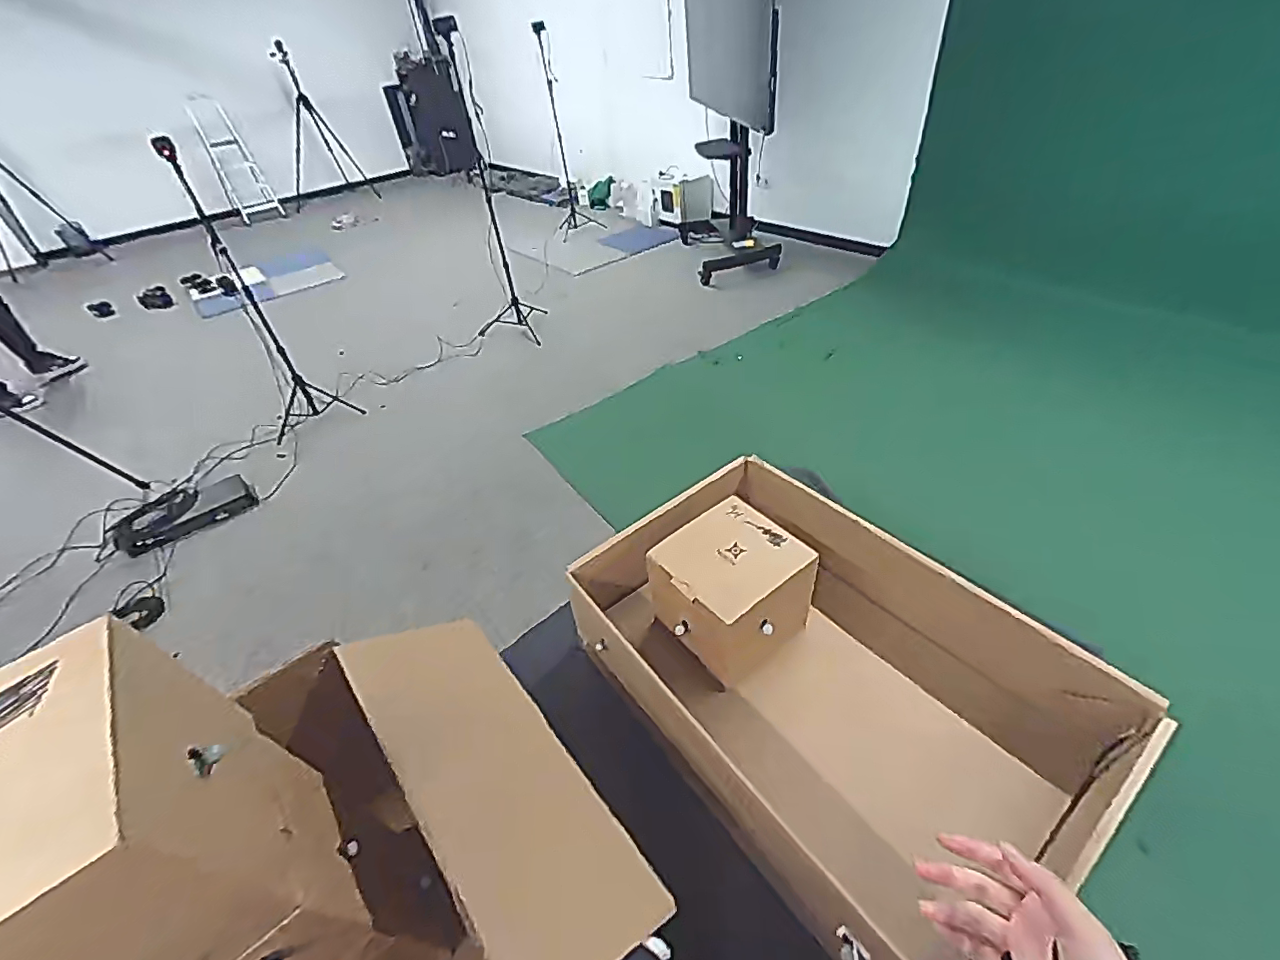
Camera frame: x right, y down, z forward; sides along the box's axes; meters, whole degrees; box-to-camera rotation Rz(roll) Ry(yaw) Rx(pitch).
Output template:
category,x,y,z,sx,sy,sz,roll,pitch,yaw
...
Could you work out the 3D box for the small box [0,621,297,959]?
category,x,y,z,sx,sy,sz,roll,pitch,yaw
small box,-0.356,0.232,0.338,0.168,0.176,0.179,-32,50,-23
